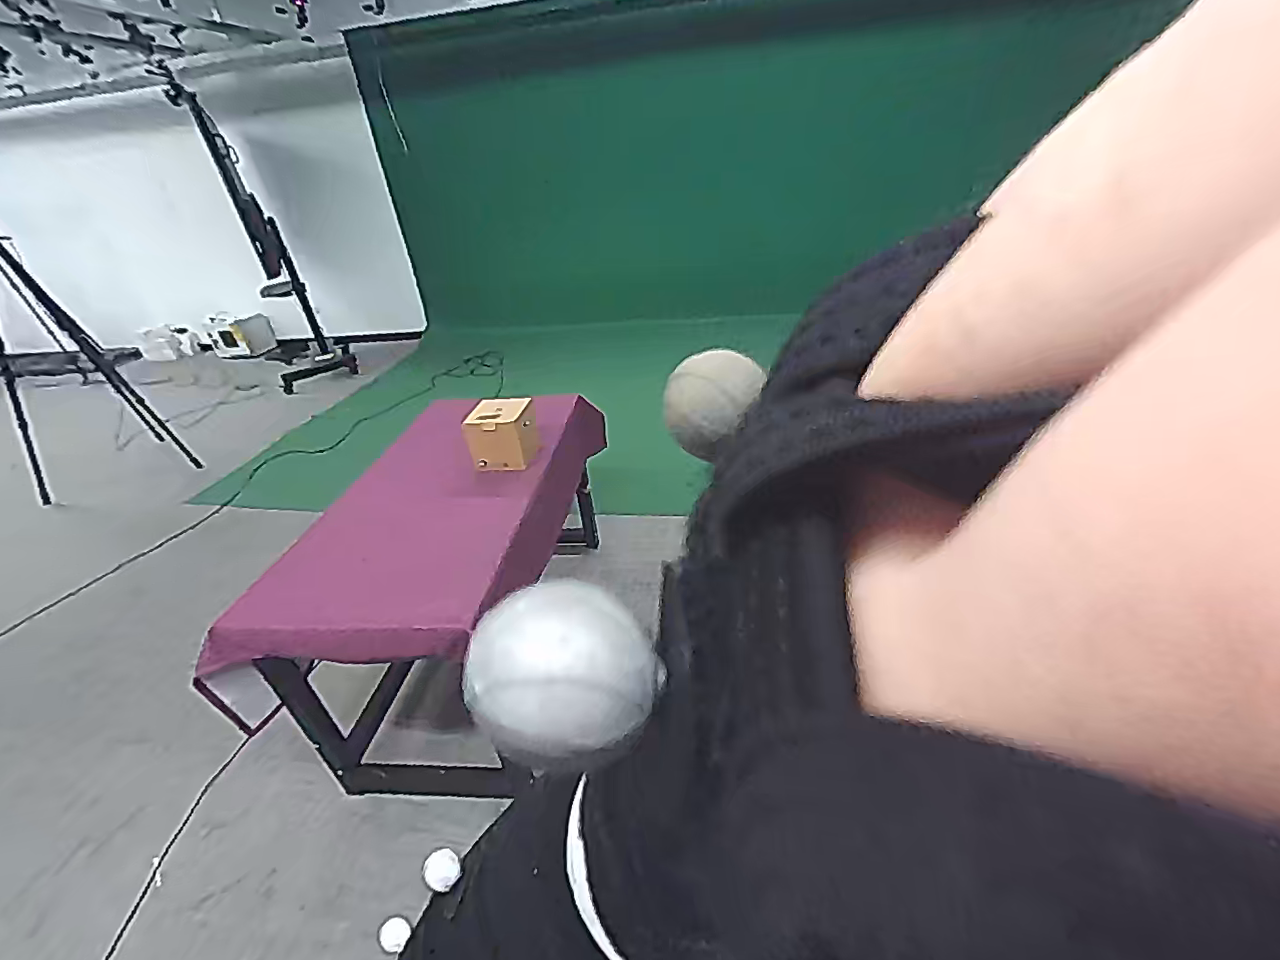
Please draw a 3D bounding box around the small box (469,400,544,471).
[{"bbox_3d":[-0.413,-0.139,1.709,0.168,0.176,0.179,-1,32,9],"label":"small box"}]
